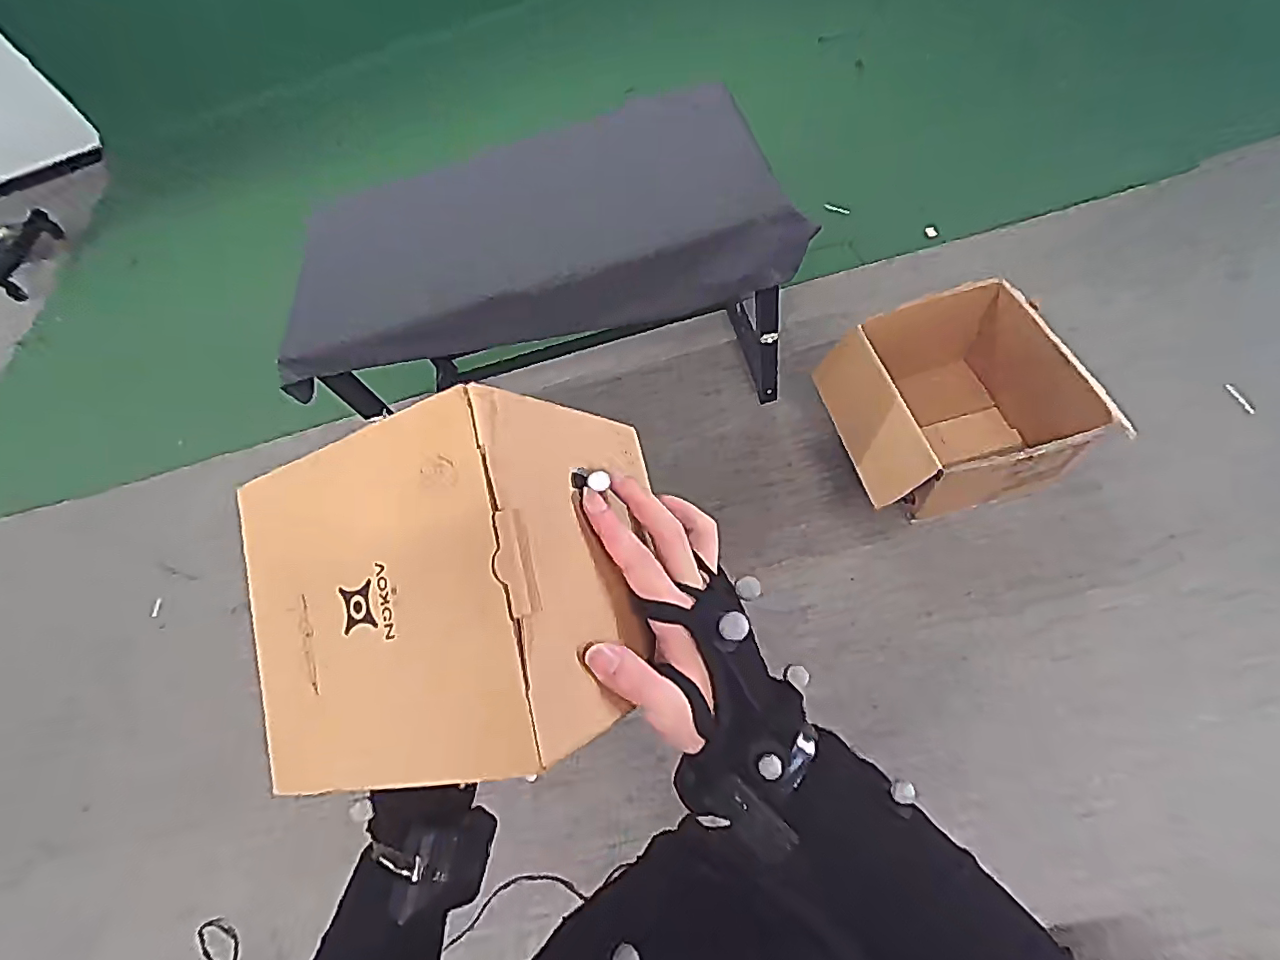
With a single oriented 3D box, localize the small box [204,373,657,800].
[{"bbox_3d":[-0.104,0.058,0.316,0.179,0.176,0.168,-19,79,24],"label":"small box"}]
